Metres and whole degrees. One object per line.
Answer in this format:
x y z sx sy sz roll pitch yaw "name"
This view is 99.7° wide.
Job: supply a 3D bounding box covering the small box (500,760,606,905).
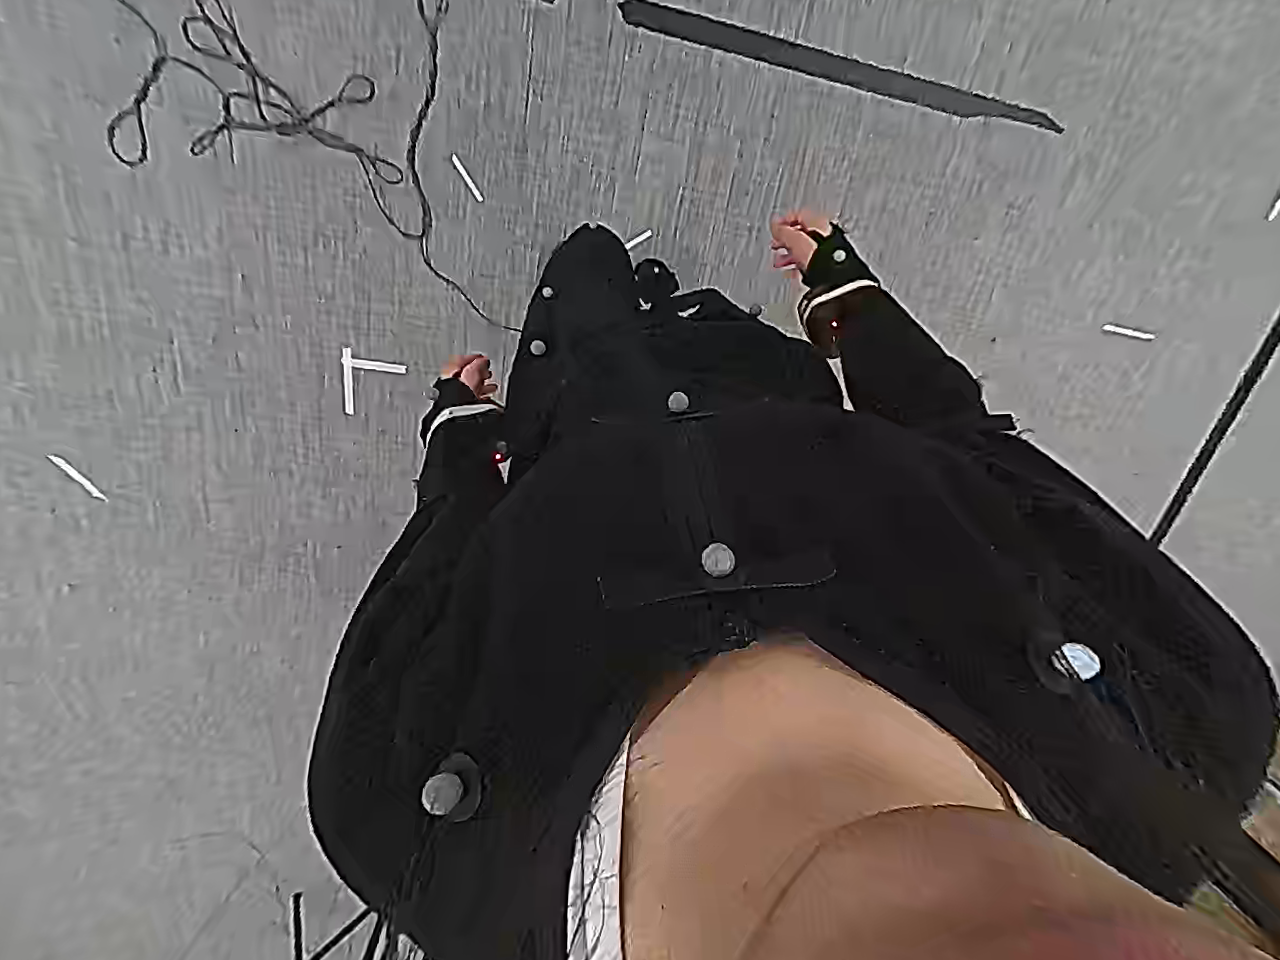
-0.169 0.691 1.073 0.168 0.176 0.179 14 111 -8 "small box"
